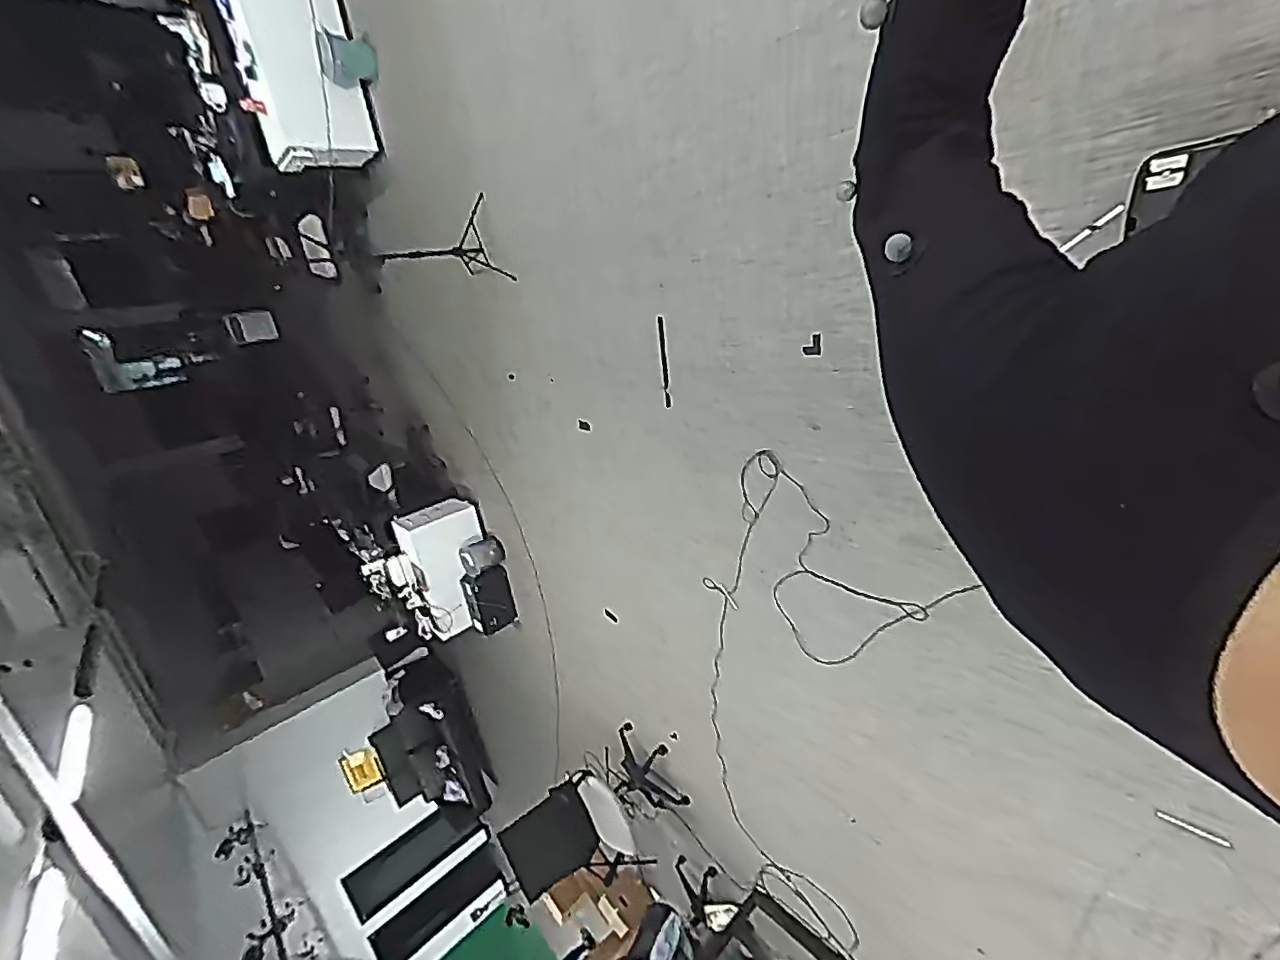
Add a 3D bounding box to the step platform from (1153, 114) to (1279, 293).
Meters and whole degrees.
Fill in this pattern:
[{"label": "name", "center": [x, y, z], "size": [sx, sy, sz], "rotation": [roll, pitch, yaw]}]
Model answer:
[{"label": "step platform", "center": [1.274, -0.486, 0.849], "size": [0.684, 0.204, 0.286], "rotation": [9, 116, 47]}]
